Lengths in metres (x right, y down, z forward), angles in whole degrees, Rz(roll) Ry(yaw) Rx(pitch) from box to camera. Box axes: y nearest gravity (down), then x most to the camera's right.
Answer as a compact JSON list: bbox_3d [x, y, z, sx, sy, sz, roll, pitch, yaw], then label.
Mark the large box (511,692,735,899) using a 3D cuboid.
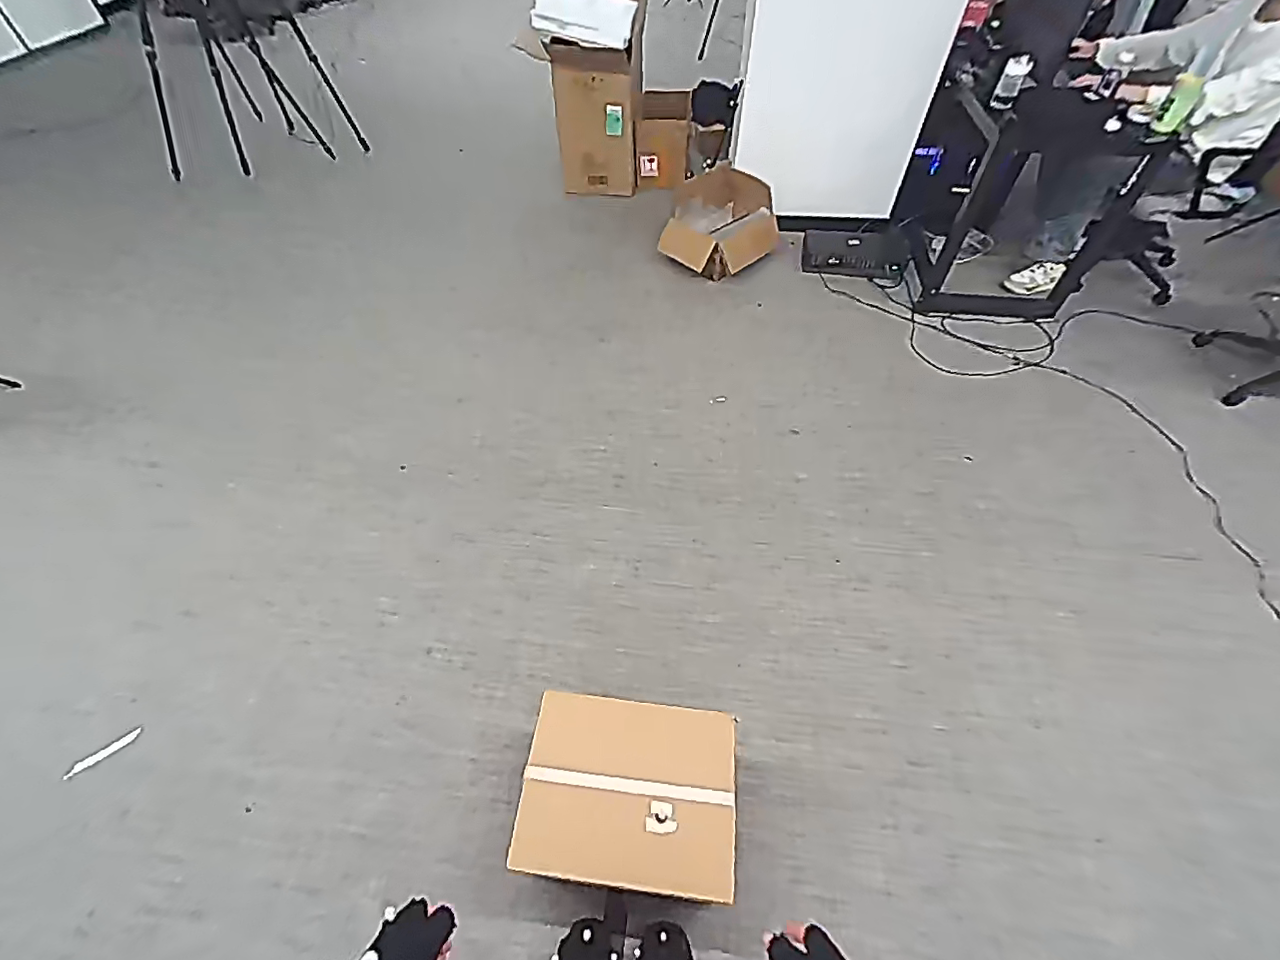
[{"bbox_3d":[-0.022,0.676,1.152,0.408,0.320,0.320,6,53,3],"label":"large box"}]
